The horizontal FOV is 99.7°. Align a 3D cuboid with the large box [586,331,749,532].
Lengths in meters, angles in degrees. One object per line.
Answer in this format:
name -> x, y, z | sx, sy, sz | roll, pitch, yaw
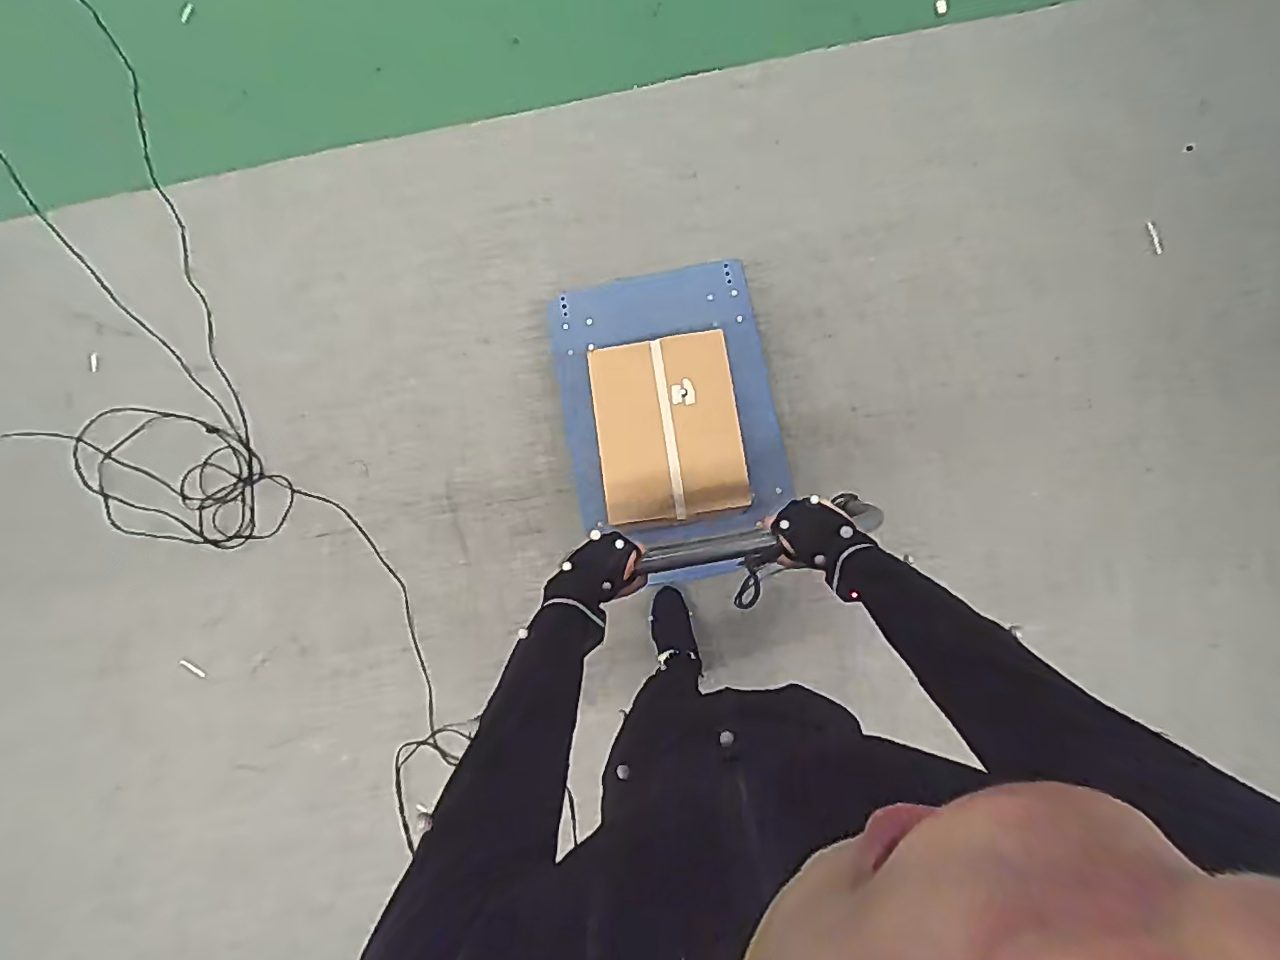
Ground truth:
large box -> 0.066, -0.097, 1.341 | 0.320, 0.320, 0.408 | -8, 80, 2
